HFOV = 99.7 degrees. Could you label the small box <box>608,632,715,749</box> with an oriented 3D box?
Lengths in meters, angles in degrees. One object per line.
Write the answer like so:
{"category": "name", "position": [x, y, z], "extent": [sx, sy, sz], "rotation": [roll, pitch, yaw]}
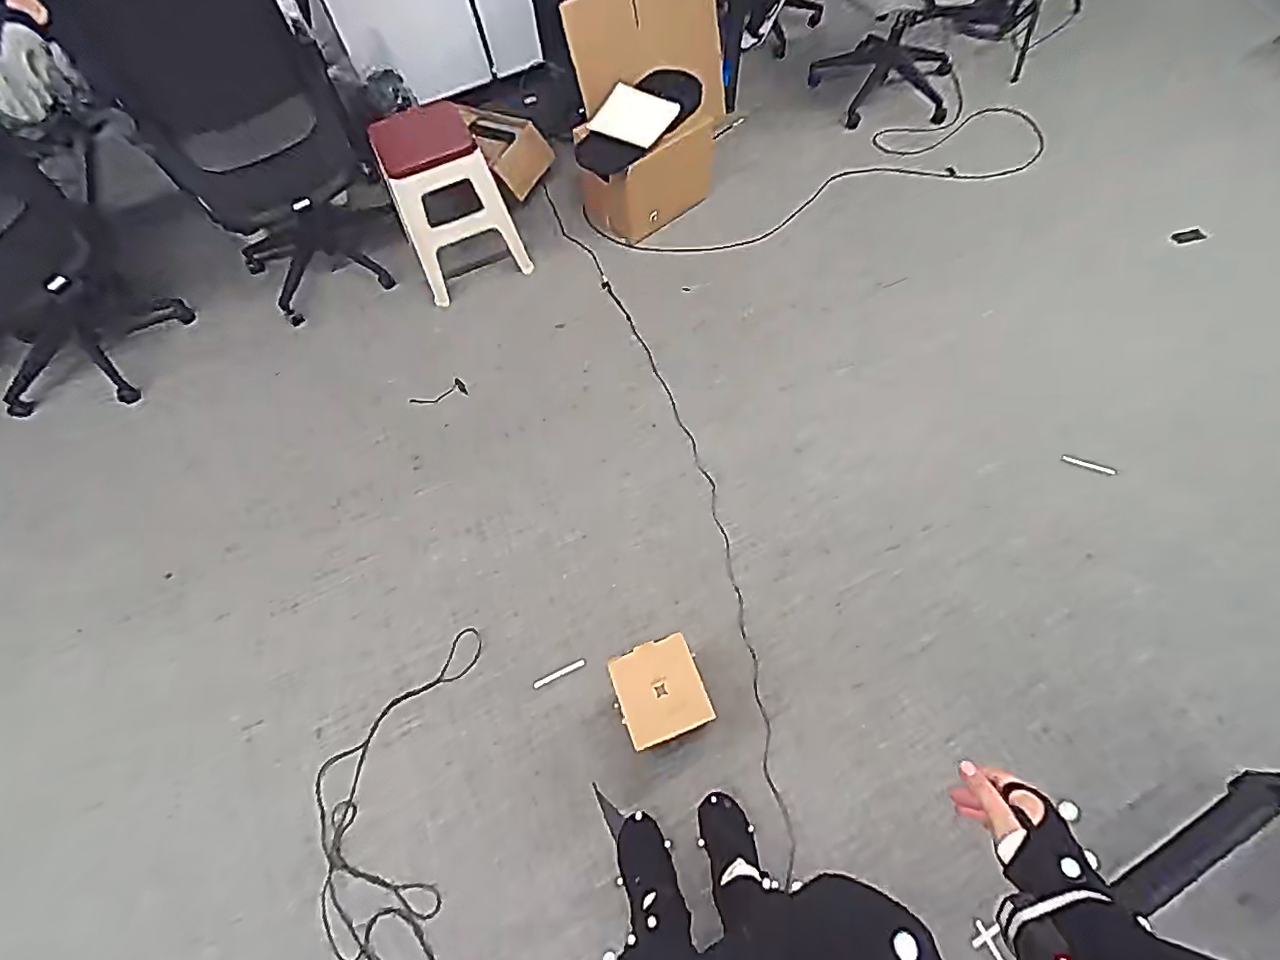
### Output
{"category": "small box", "position": [0.042, 0.442, 1.126], "extent": [0.168, 0.176, 0.179], "rotation": [-21, 65, -6]}
